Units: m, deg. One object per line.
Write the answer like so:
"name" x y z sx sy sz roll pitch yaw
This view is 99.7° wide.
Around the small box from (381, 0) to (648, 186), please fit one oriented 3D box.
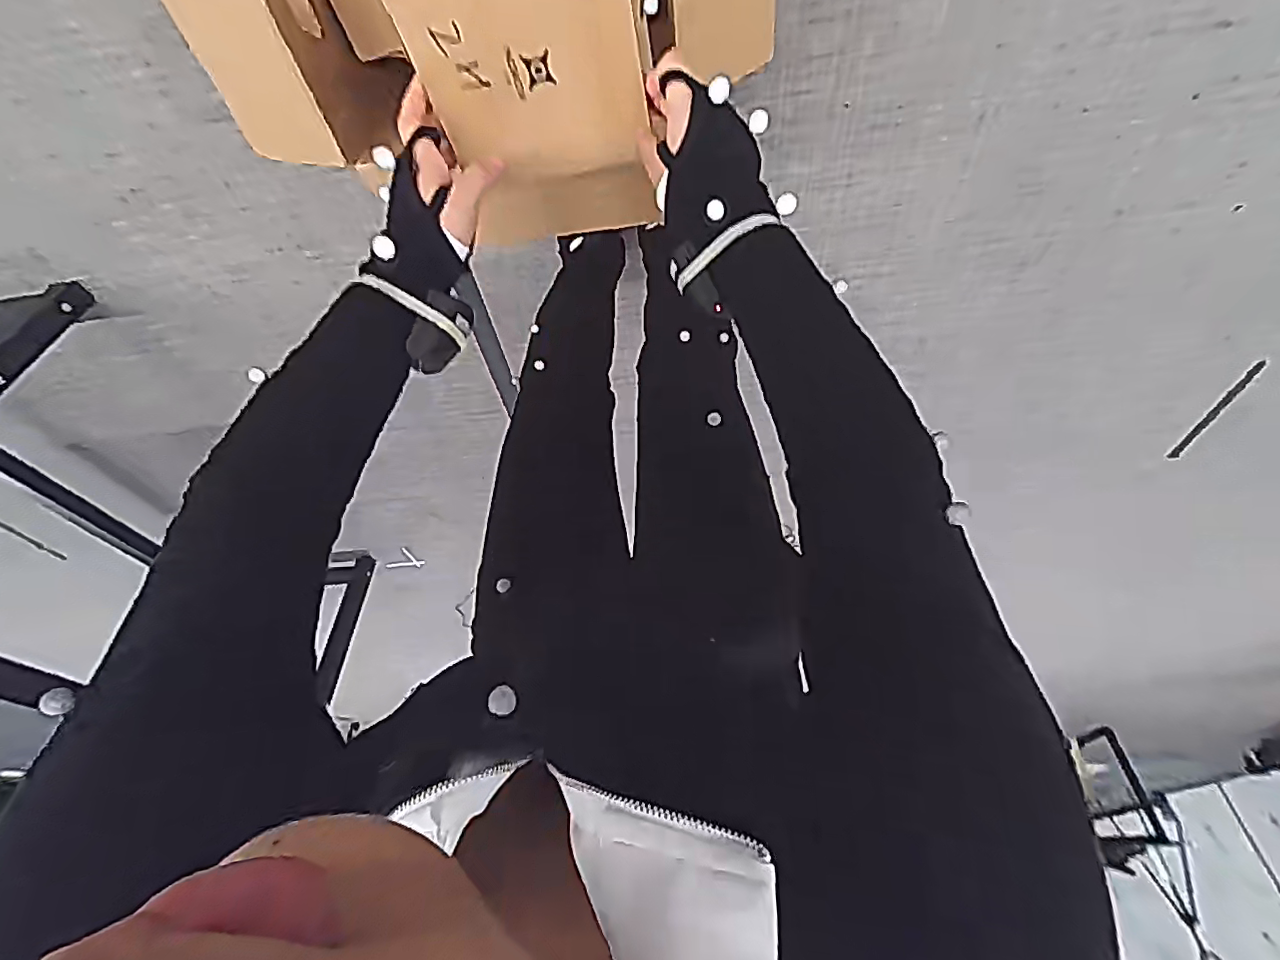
"small box" -0.091 -0.391 0.464 0.179 0.176 0.168 -4 149 9
